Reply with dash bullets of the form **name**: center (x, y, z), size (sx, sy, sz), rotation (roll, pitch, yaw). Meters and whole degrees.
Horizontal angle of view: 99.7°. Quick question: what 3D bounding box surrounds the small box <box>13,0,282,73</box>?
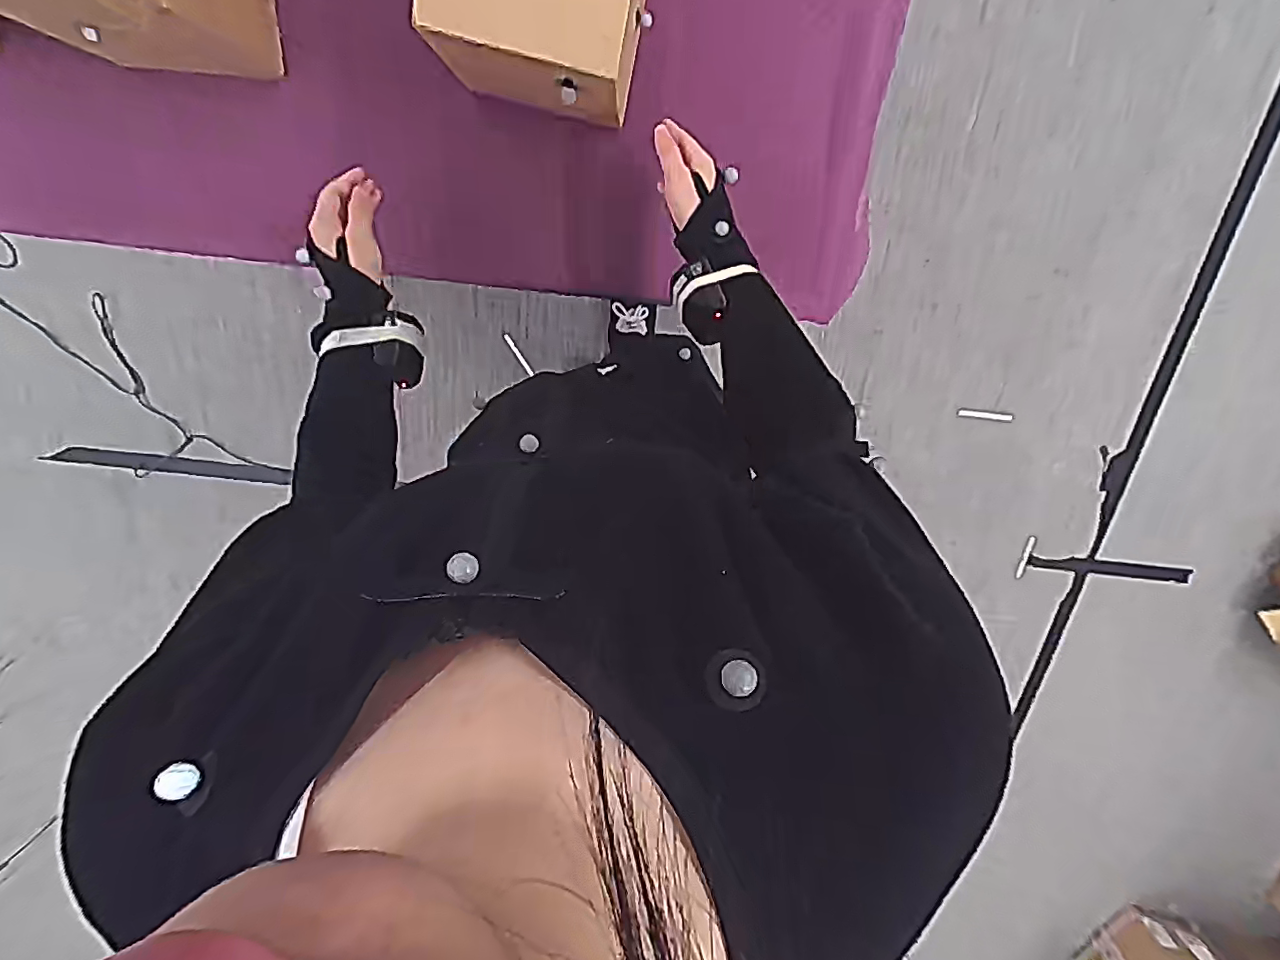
- **small box**: center (-0.468, -0.495, 0.485), size (0.179, 0.176, 0.168), rotation (3, 111, -3)

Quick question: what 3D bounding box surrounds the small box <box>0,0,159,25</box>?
- **small box**: center (-0.468, -0.425, 0.338), size (0.179, 0.176, 0.168), rotation (5, 112, -4)

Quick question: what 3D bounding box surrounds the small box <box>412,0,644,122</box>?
- **small box**: center (-0.087, -0.460, 0.501), size (0.179, 0.176, 0.168), rotation (12, 109, -5)
